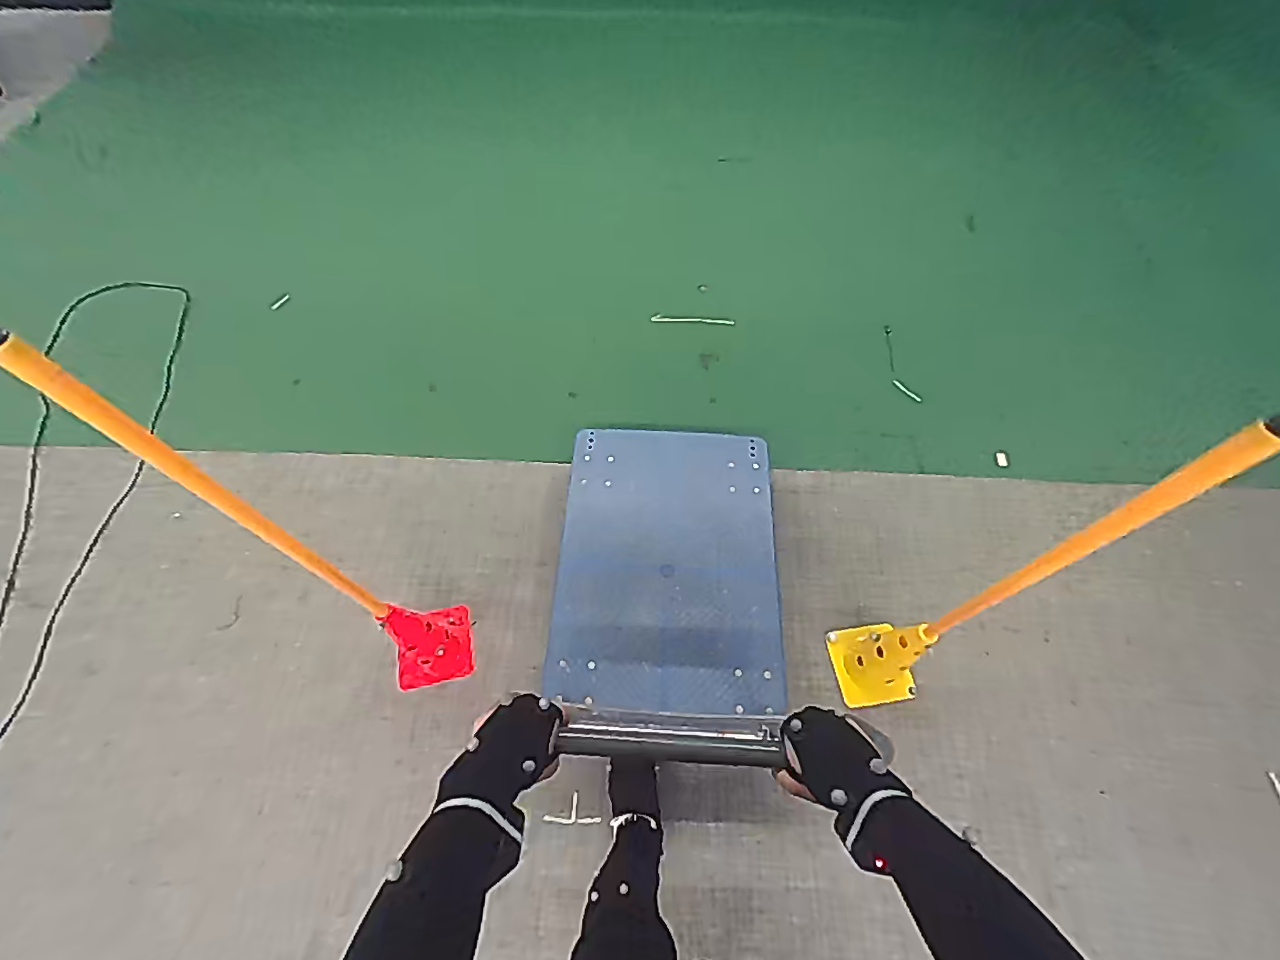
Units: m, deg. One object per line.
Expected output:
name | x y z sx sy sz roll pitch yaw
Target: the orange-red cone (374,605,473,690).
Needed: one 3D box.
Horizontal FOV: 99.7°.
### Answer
orange-red cone | -0.563 0.377 1.333 0.199 0.360 0.198 -12 61 -5
